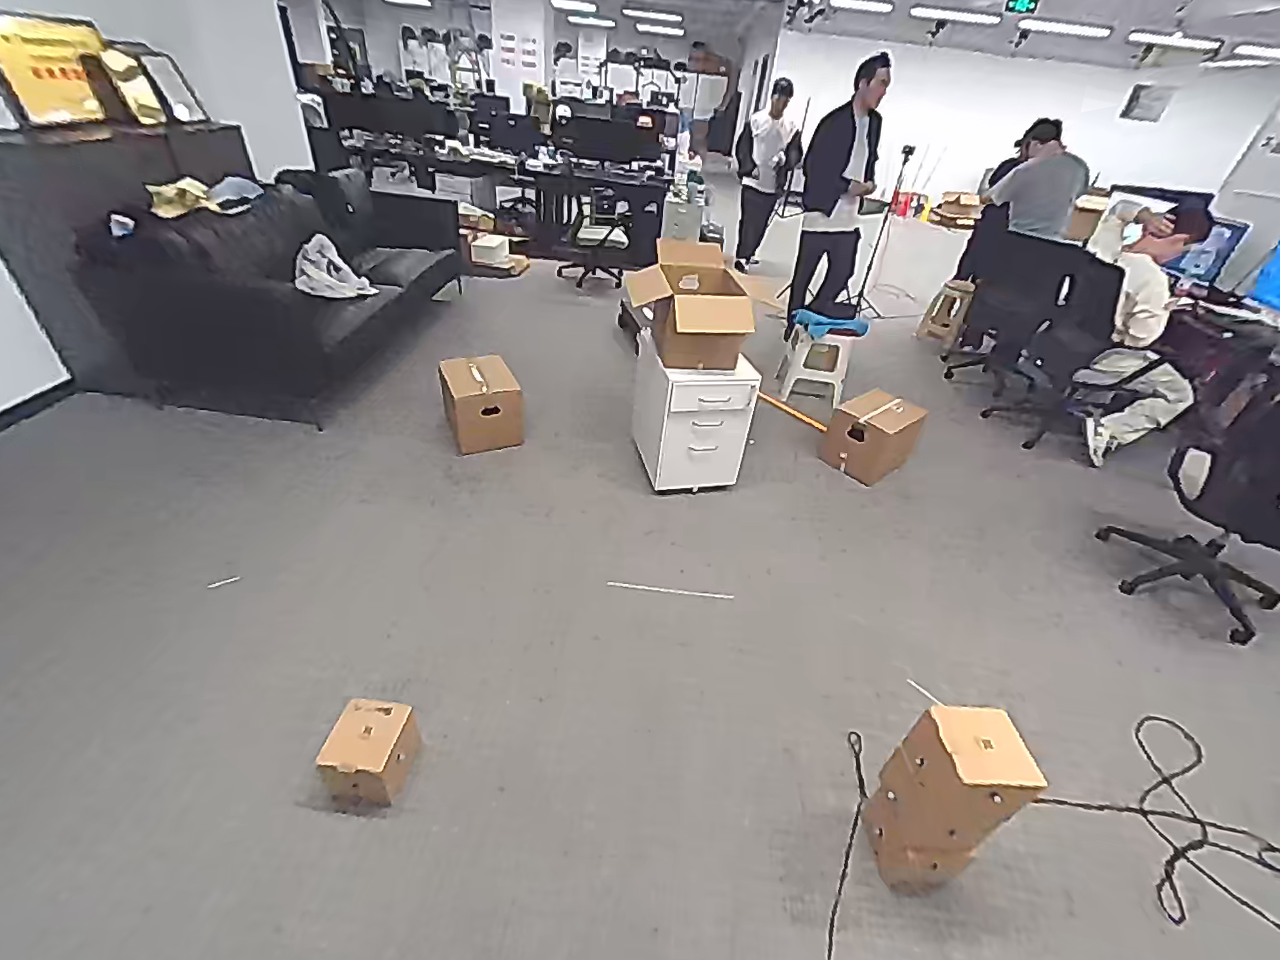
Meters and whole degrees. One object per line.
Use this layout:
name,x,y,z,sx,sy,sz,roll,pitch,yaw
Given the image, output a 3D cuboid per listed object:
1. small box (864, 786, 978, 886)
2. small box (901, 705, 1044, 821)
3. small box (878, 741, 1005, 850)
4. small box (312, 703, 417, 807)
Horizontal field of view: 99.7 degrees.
small box,0.679,0.879,1.338,0.179,0.176,0.168,2,36,-6
small box,0.698,0.607,1.159,0.179,0.176,0.168,3,35,-3
small box,0.689,0.736,1.258,0.179,0.176,0.168,4,35,-2
small box,-0.692,0.708,1.386,0.168,0.176,0.179,7,36,2
